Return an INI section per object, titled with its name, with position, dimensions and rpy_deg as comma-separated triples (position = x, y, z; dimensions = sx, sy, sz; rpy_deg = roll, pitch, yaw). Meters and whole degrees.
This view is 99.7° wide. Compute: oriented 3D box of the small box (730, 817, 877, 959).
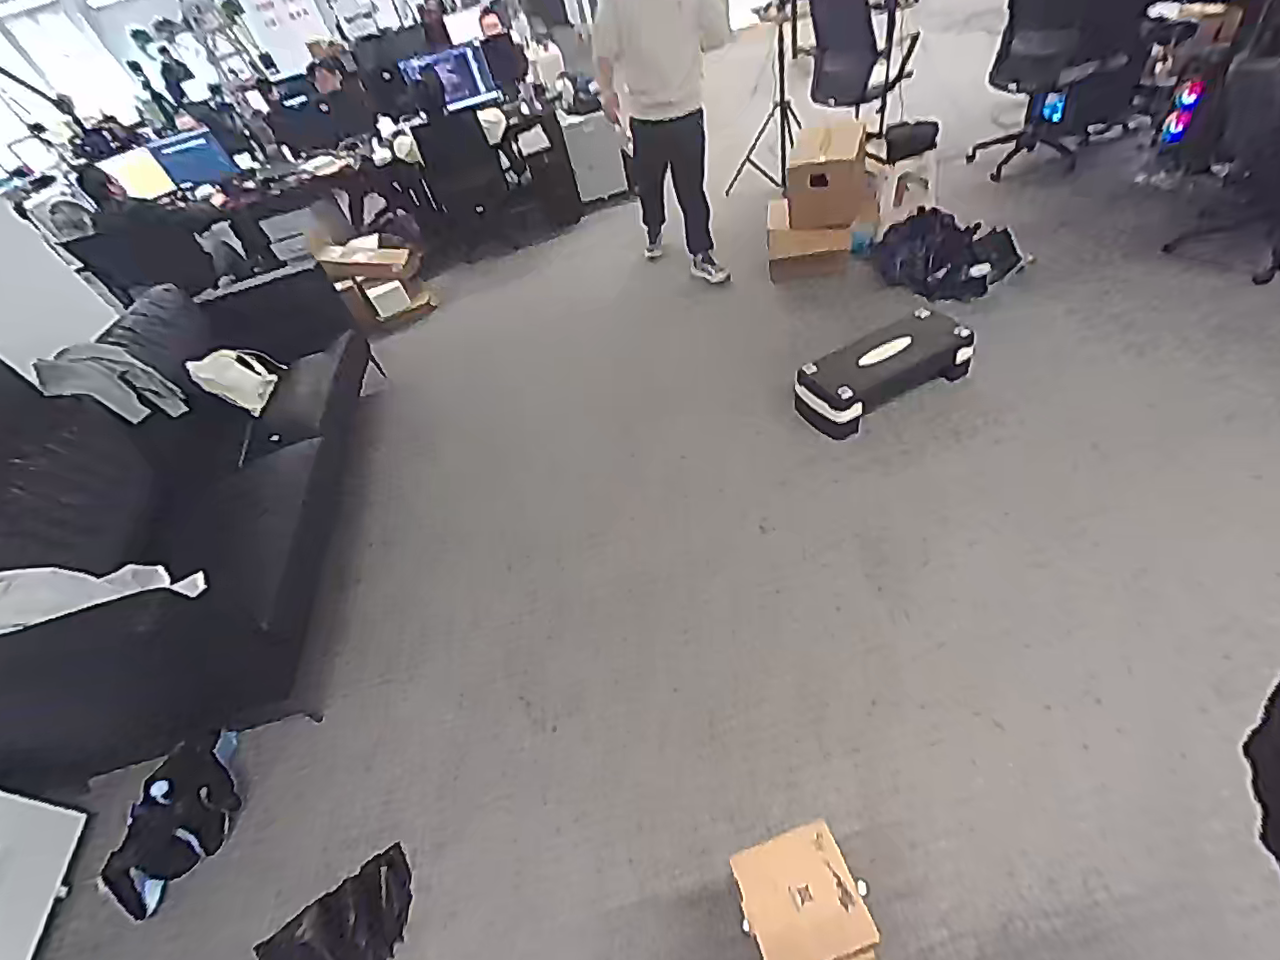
[small box]
position = 0.270, 0.698, 0.896
dimensions = 0.179, 0.176, 0.168
rpy_deg = -22, 44, -1
